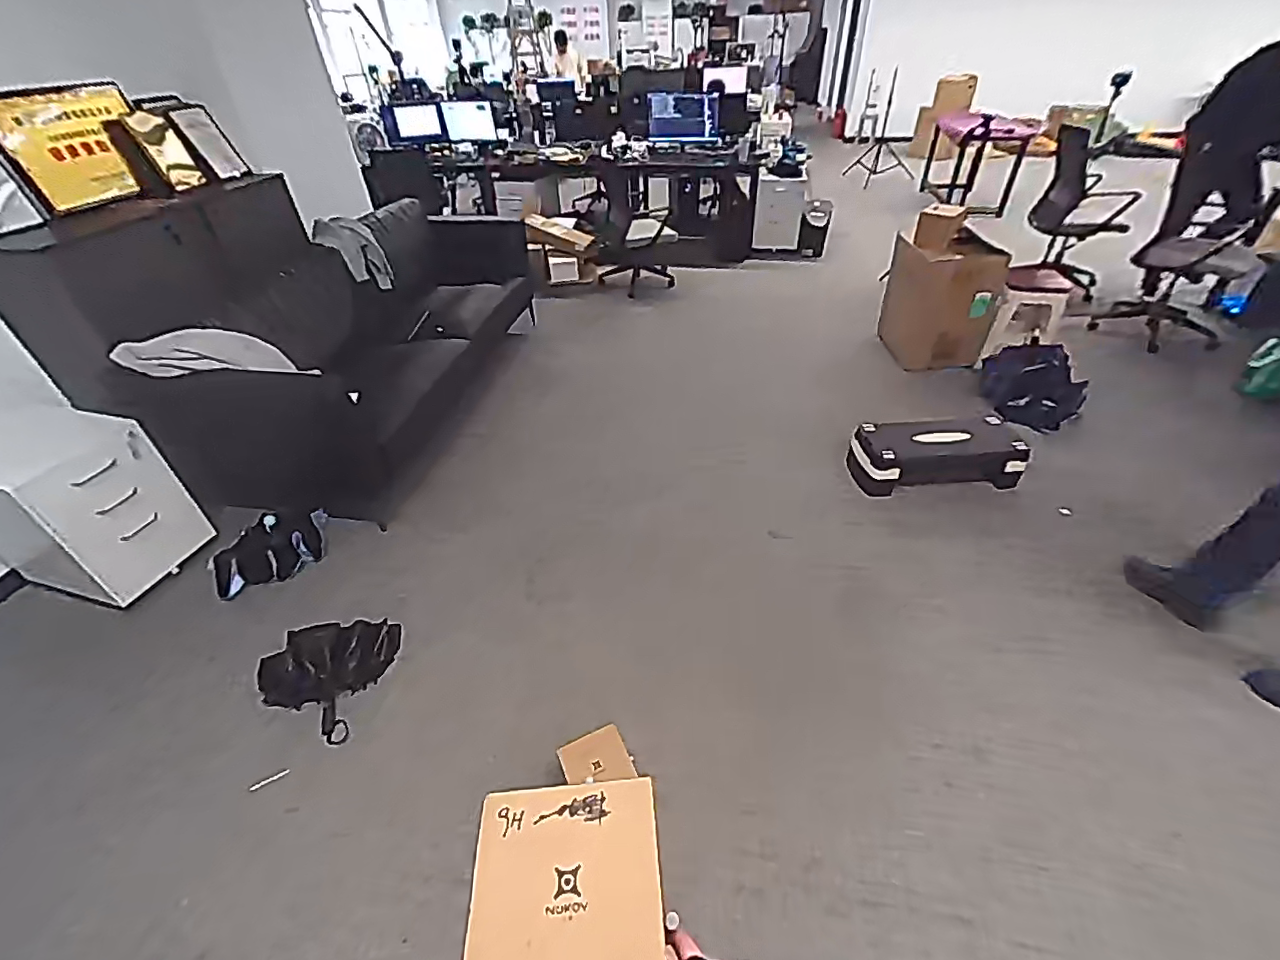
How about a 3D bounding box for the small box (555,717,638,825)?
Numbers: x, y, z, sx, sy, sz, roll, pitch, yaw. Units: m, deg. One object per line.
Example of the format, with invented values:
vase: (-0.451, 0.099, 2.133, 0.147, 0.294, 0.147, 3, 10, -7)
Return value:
small box: (-0.111, 0.774, 1.427, 0.168, 0.176, 0.179, -18, 41, -20)
